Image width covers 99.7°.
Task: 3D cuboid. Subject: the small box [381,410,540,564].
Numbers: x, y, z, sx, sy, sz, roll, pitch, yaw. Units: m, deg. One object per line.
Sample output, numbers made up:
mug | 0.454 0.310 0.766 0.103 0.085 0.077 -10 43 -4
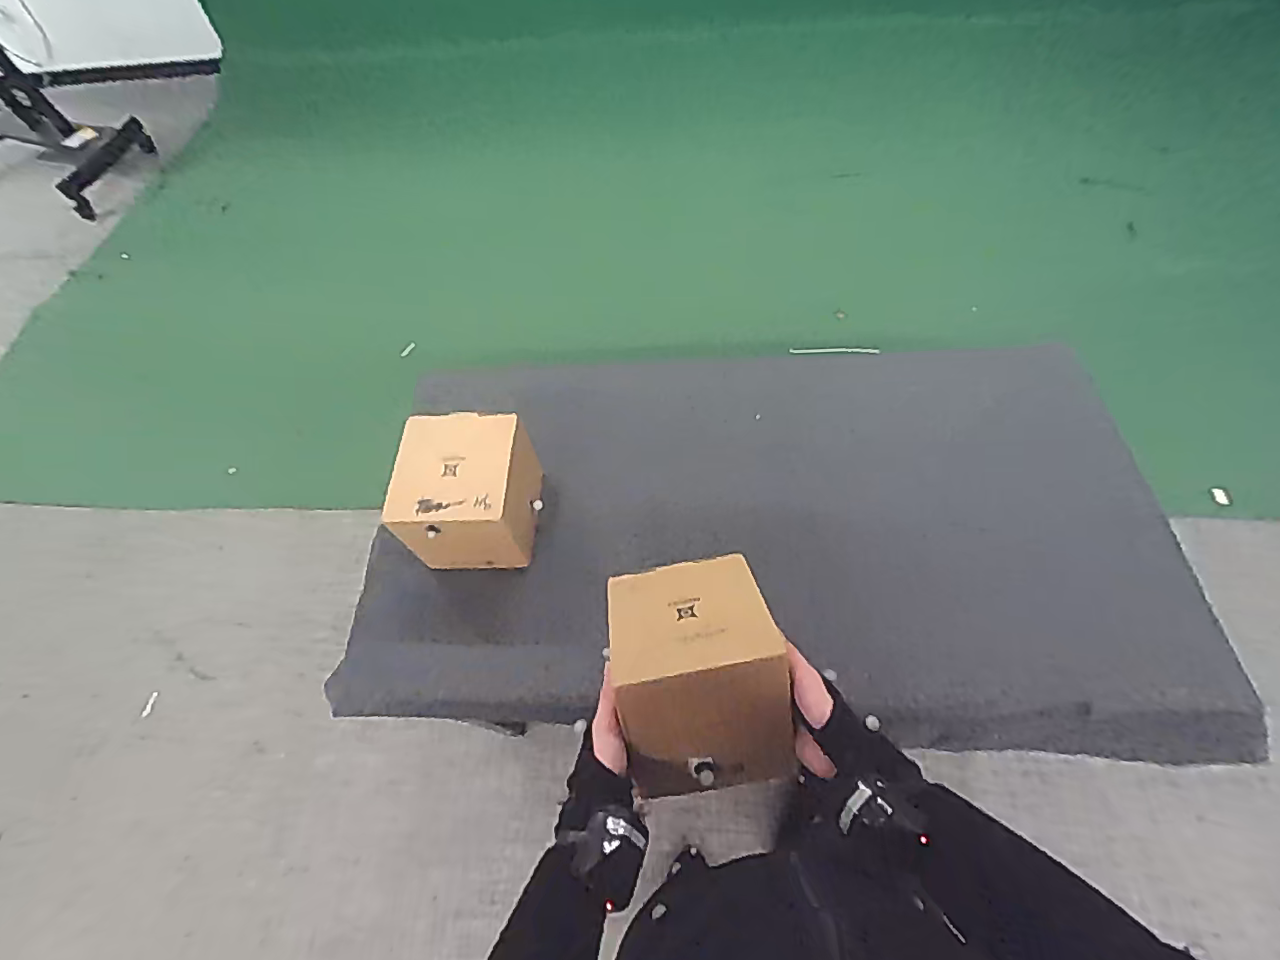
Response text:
small box | -0.254 0.014 0.816 0.168 0.176 0.179 -1 60 4

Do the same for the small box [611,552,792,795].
small box | 0.062 0.206 0.600 0.168 0.176 0.179 -10 25 0
